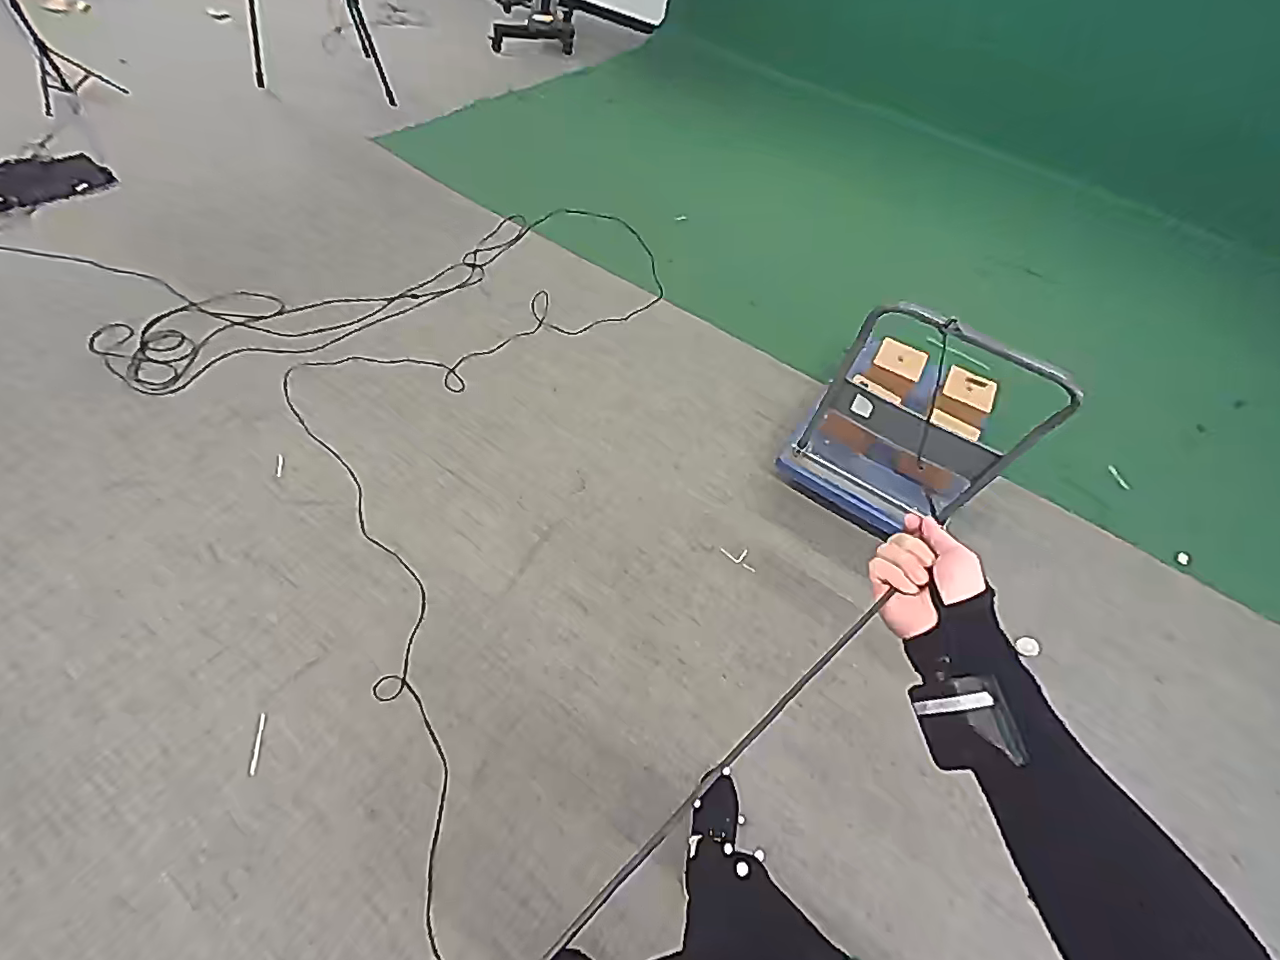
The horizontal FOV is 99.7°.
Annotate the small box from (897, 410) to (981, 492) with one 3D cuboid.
[{"bbox_3d":[1.001,-0.095,1.819,0.168,0.176,0.179,33,58,16],"label":"small box"}]

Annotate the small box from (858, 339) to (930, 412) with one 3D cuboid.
[{"bbox_3d":[0.941,-0.384,2.016,0.168,0.176,0.179,30,57,13],"label":"small box"}]

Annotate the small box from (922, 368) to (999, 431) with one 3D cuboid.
[{"bbox_3d":[1.156,-0.266,1.959,0.168,0.176,0.179,29,58,14],"label":"small box"}]
